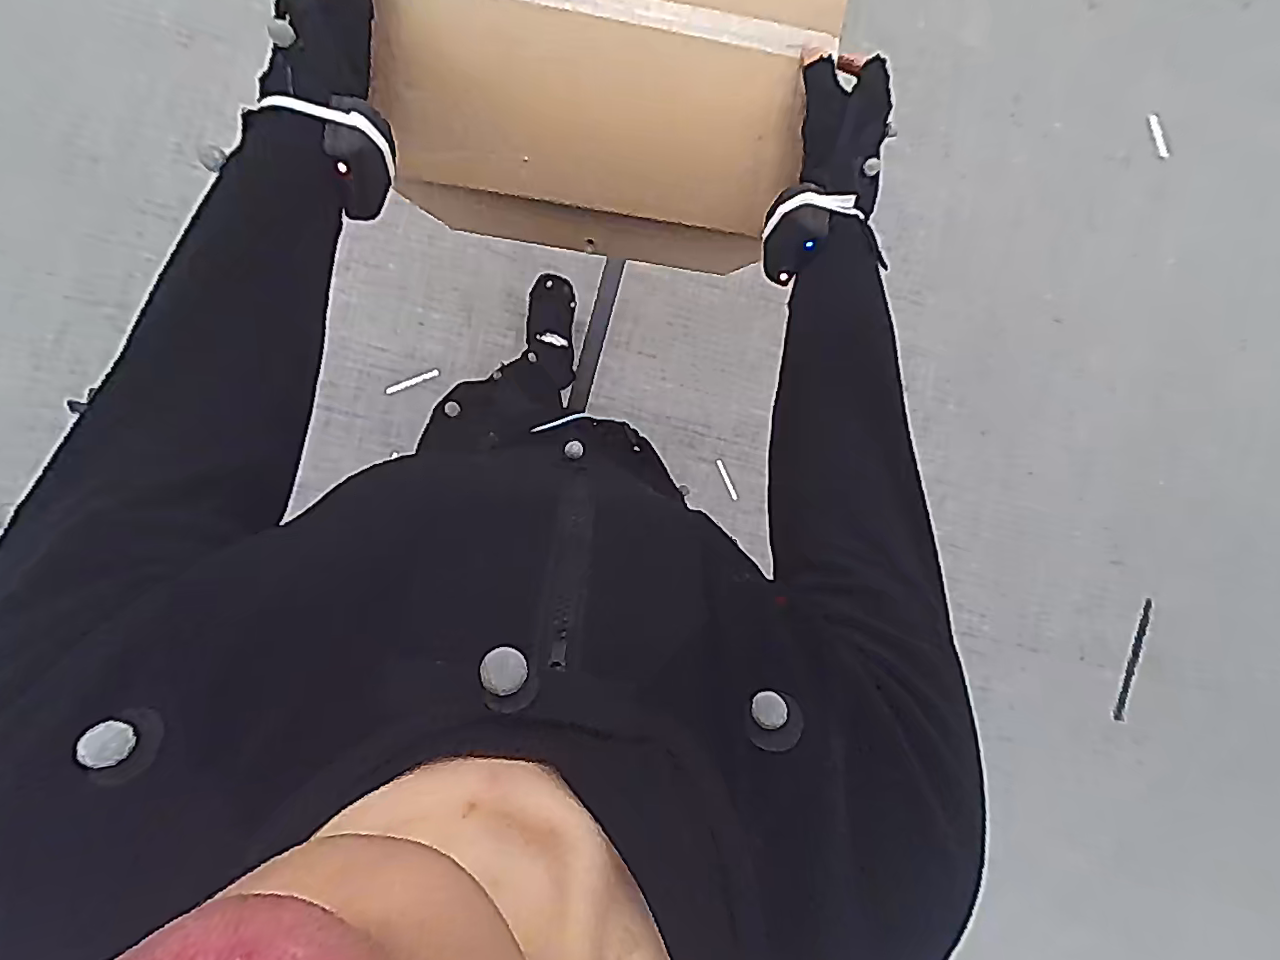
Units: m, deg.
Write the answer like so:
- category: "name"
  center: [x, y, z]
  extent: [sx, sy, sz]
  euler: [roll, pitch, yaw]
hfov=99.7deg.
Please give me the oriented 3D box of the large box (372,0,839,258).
- category: "large box"
  center: [-0.033, -0.452, 0.608]
  extent: [0.408, 0.320, 0.320]
  euler: [7, 104, -6]
